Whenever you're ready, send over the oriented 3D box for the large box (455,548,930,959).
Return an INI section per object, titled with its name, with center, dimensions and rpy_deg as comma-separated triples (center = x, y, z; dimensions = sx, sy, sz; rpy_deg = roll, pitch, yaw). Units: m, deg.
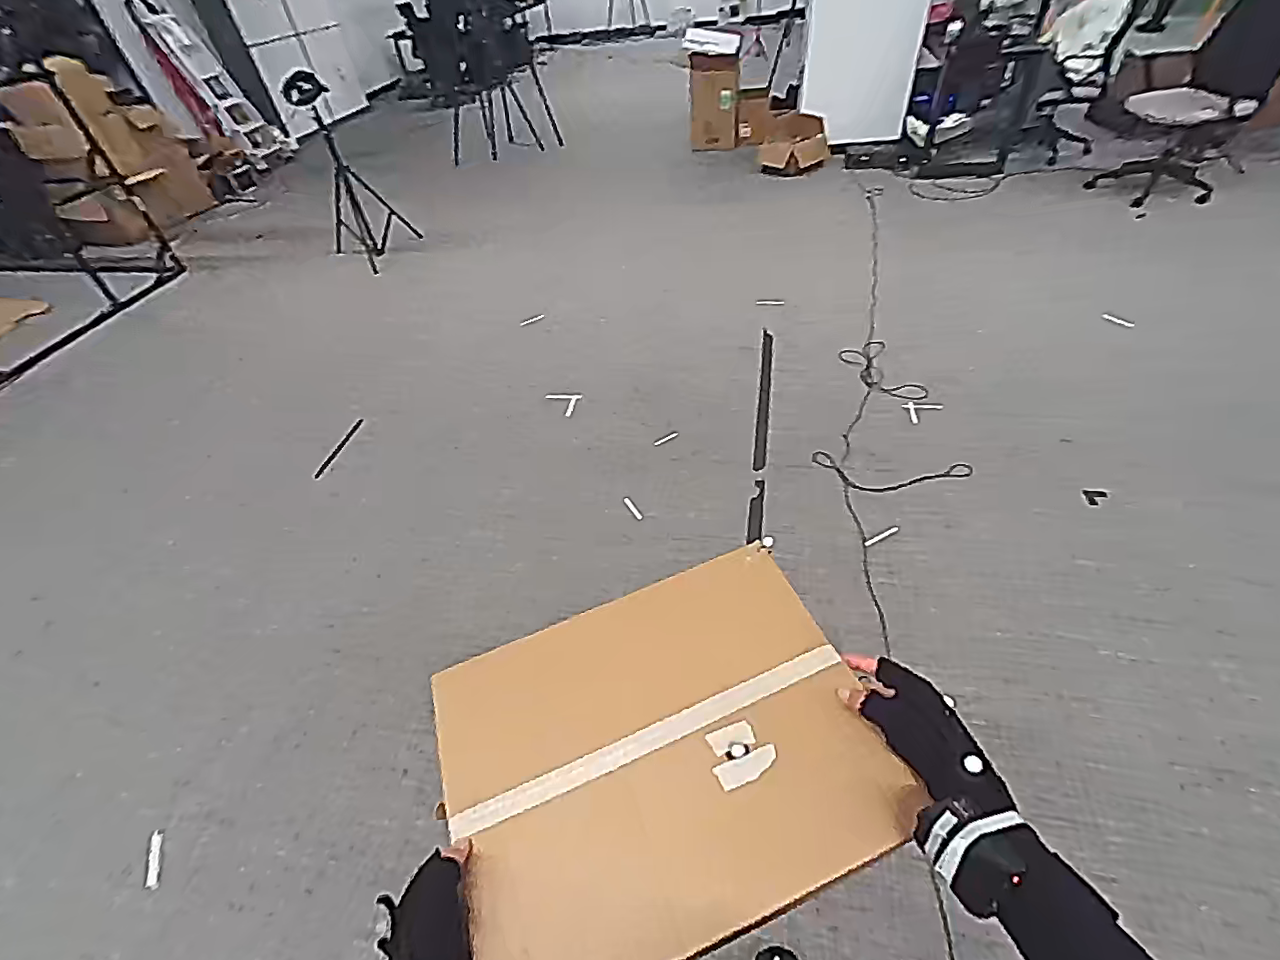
[large box]
center = 0.042, 0.353, 0.656
dimensions = 0.408, 0.320, 0.320
rpy_deg = -20, 50, -9
